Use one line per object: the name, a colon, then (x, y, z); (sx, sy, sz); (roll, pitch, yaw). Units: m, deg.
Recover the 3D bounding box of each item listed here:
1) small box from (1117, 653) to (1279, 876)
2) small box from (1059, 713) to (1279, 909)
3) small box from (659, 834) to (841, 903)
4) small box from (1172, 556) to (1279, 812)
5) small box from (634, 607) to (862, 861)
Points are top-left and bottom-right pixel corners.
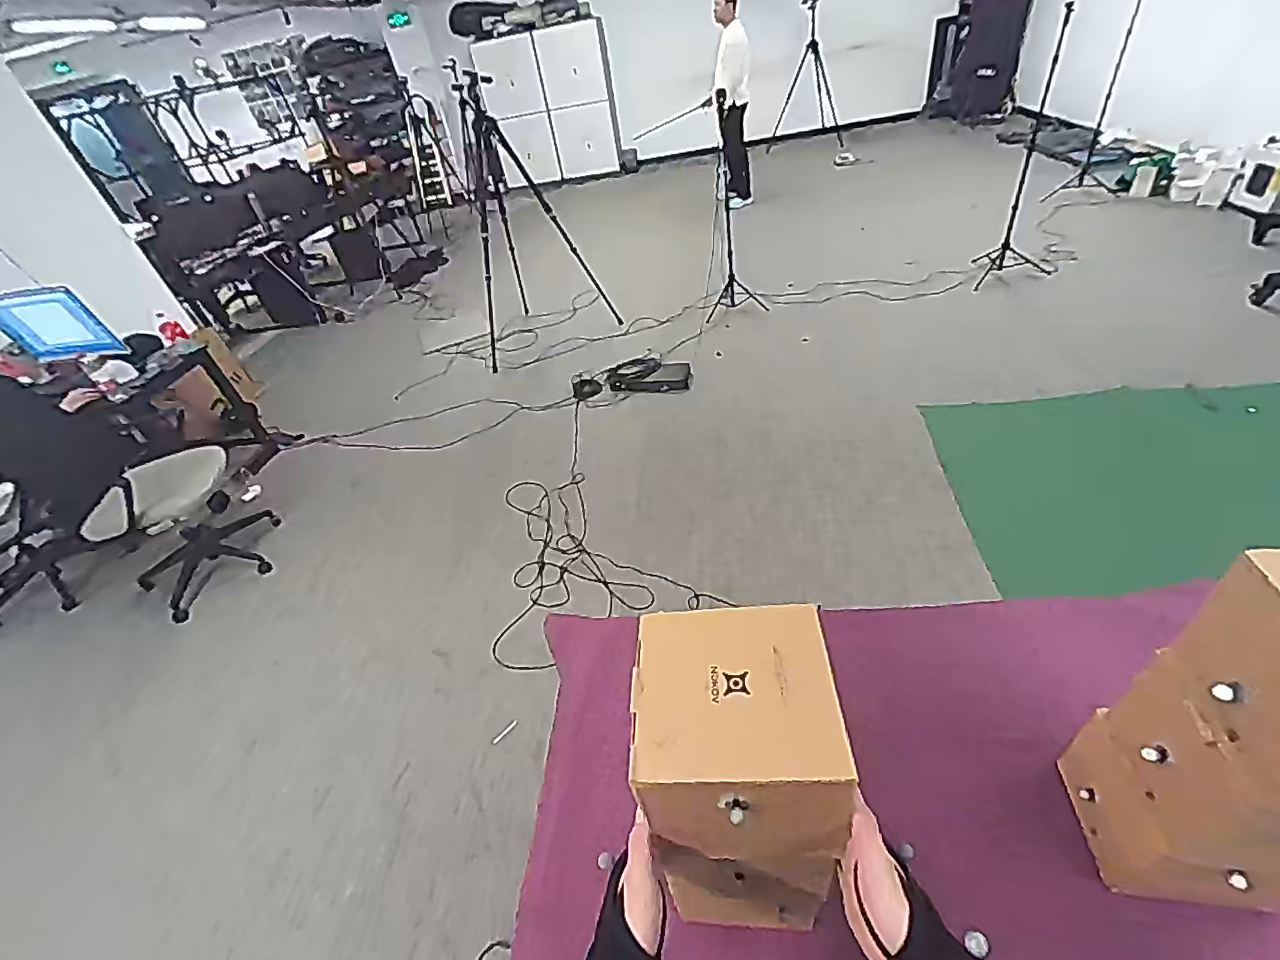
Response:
small box: (0.665, 0.308, 0.583); (0.179, 0.176, 0.168); (-1, 41, 14)
small box: (0.692, 0.425, 0.695); (0.179, 0.176, 0.168); (-1, 41, 13)
small box: (0.121, 0.370, 0.631); (0.179, 0.176, 0.168); (-4, 40, 8)
small box: (0.644, 0.185, 0.474); (0.179, 0.176, 0.168); (-1, 40, 13)
small box: (0.099, 0.243, 0.520); (0.179, 0.176, 0.168); (-5, 38, 8)
